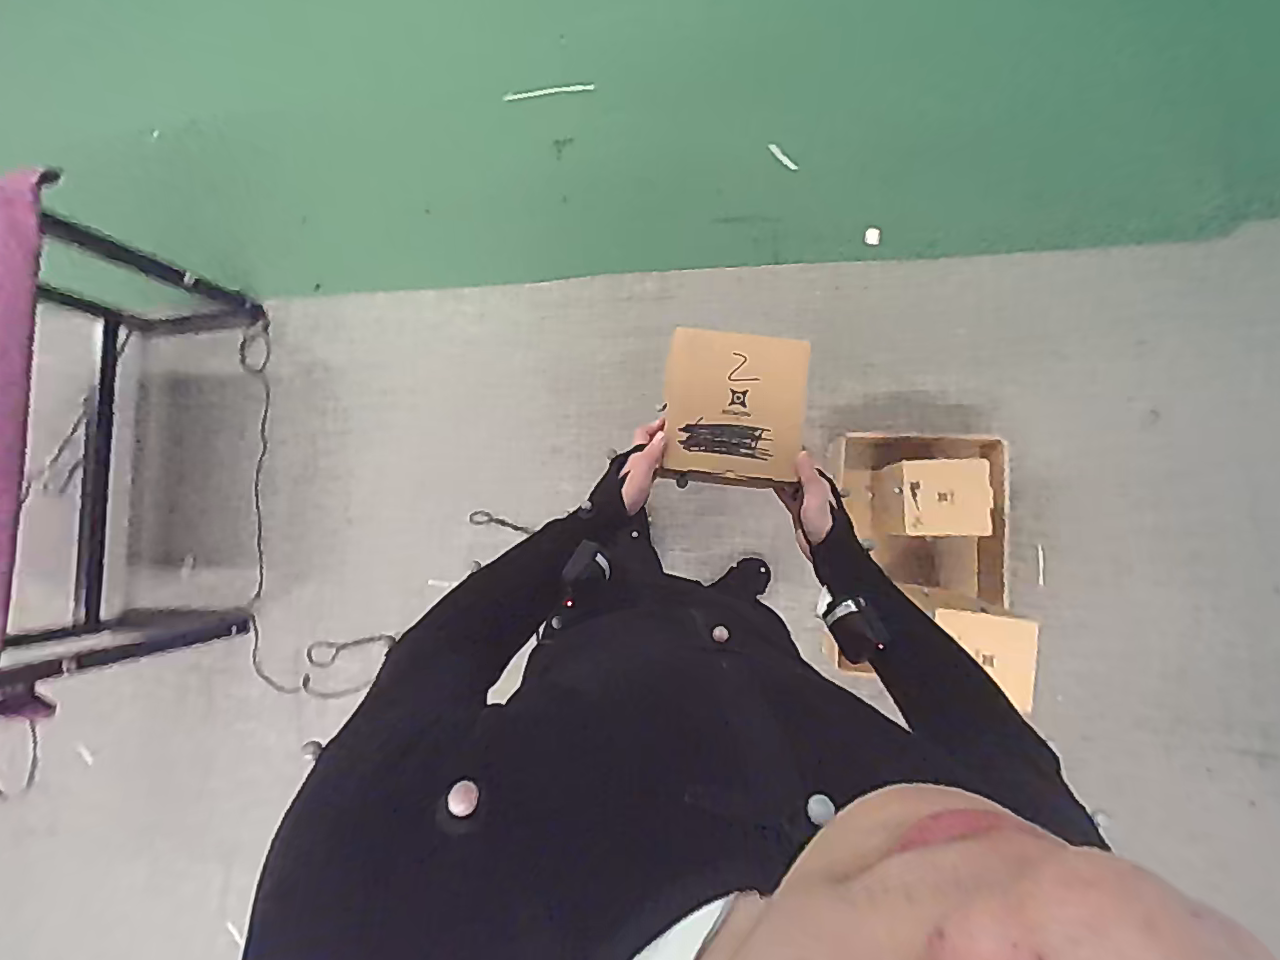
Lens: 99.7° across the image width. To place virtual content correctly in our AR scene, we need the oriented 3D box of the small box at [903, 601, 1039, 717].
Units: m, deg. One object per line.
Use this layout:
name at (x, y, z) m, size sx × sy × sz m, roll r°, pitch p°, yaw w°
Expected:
small box at (0.643, 0.341, 1.067) m, size 0.179 × 0.176 × 0.168 m, roll 6°, pitch 87°, yaw 12°

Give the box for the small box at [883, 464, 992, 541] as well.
small box at (0.678, 0.053, 1.247) m, size 0.179 × 0.176 × 0.168 m, roll 0°, pitch 85°, yaw 9°

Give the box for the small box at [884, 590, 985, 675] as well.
small box at (0.675, 0.352, 1.229) m, size 0.179 × 0.176 × 0.168 m, roll 6°, pitch 88°, yaw 12°
